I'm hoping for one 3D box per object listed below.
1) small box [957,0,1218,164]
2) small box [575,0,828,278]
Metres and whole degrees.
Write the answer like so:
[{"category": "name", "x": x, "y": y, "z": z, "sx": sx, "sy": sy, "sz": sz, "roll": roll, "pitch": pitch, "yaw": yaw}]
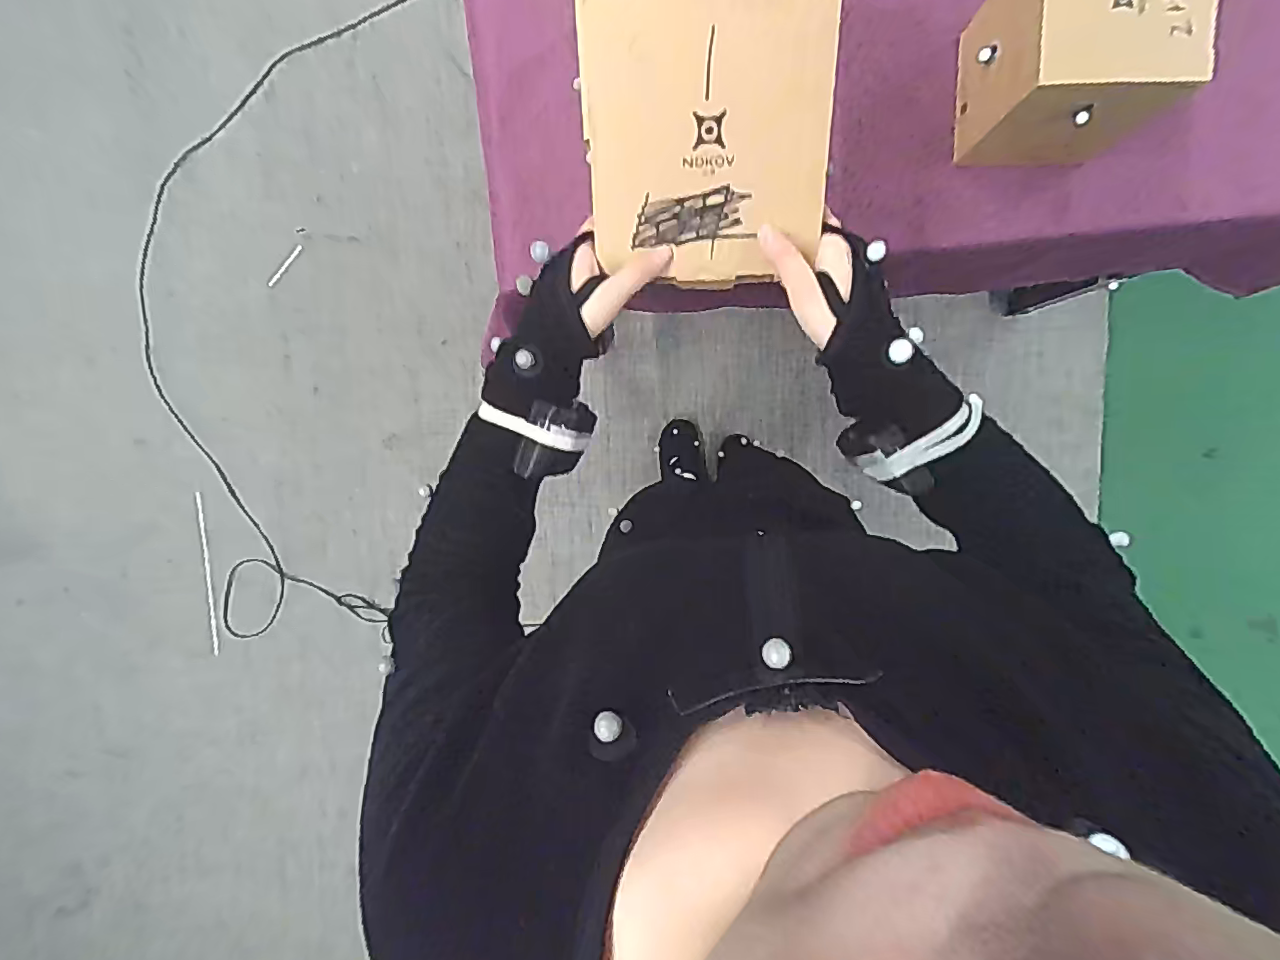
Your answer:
[{"category": "small box", "x": 0.500, "y": -0.492, "z": 0.628, "sx": 0.179, "sy": 0.176, "sz": 0.168, "roll": 1, "pitch": 95, "yaw": 3}, {"category": "small box", "x": 0.048, "y": -0.265, "z": 0.449, "sx": 0.168, "sy": 0.176, "sz": 0.179, "roll": 1, "pitch": 110, "yaw": 6}]
